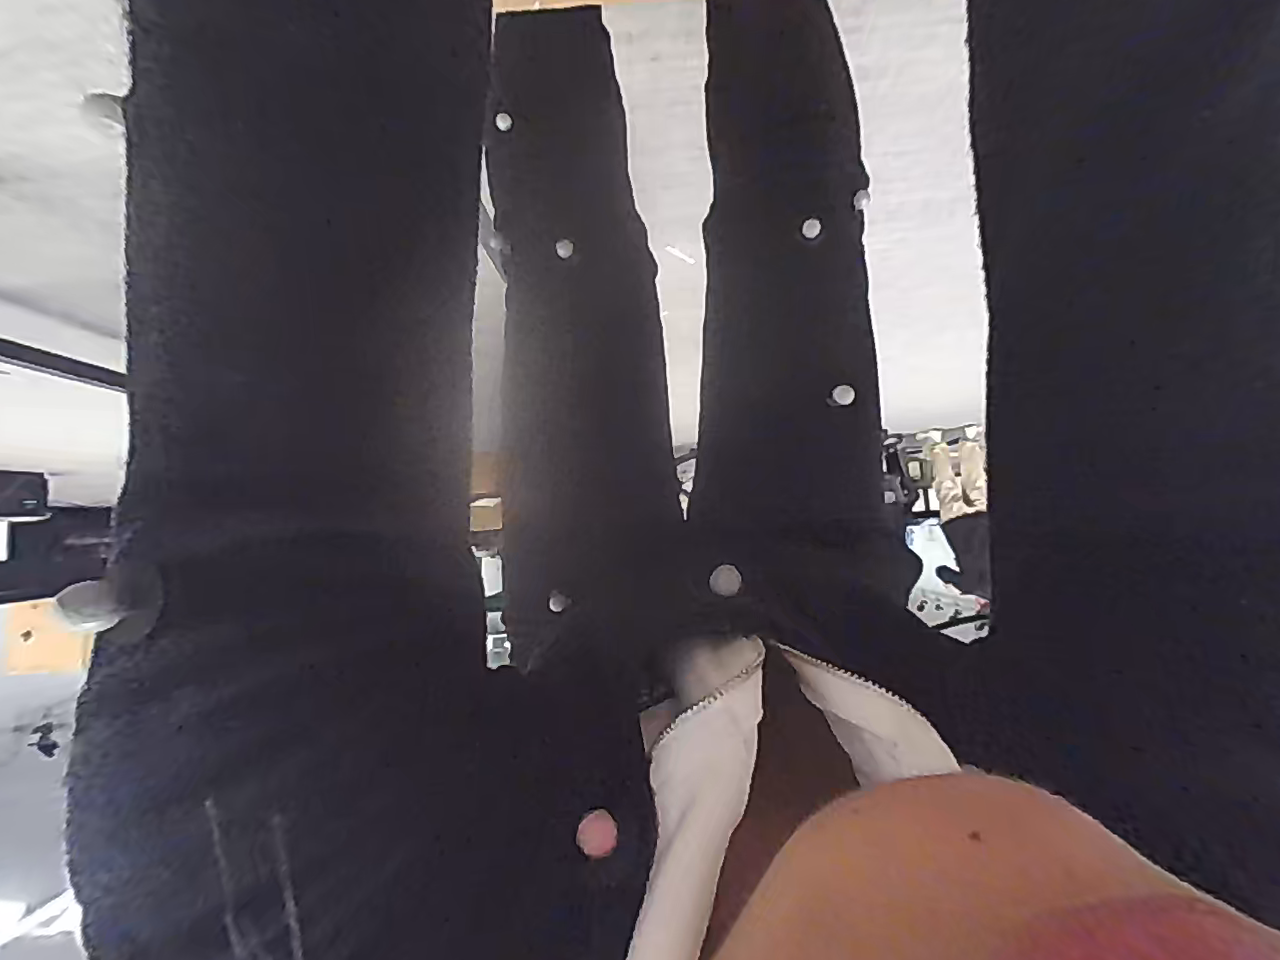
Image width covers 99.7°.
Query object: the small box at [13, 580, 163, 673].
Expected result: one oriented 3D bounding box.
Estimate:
[{"bbox_3d":[-1.223,0.320,1.208,0.168,0.176,0.179,-2,176,2],"label":"small box"}]
